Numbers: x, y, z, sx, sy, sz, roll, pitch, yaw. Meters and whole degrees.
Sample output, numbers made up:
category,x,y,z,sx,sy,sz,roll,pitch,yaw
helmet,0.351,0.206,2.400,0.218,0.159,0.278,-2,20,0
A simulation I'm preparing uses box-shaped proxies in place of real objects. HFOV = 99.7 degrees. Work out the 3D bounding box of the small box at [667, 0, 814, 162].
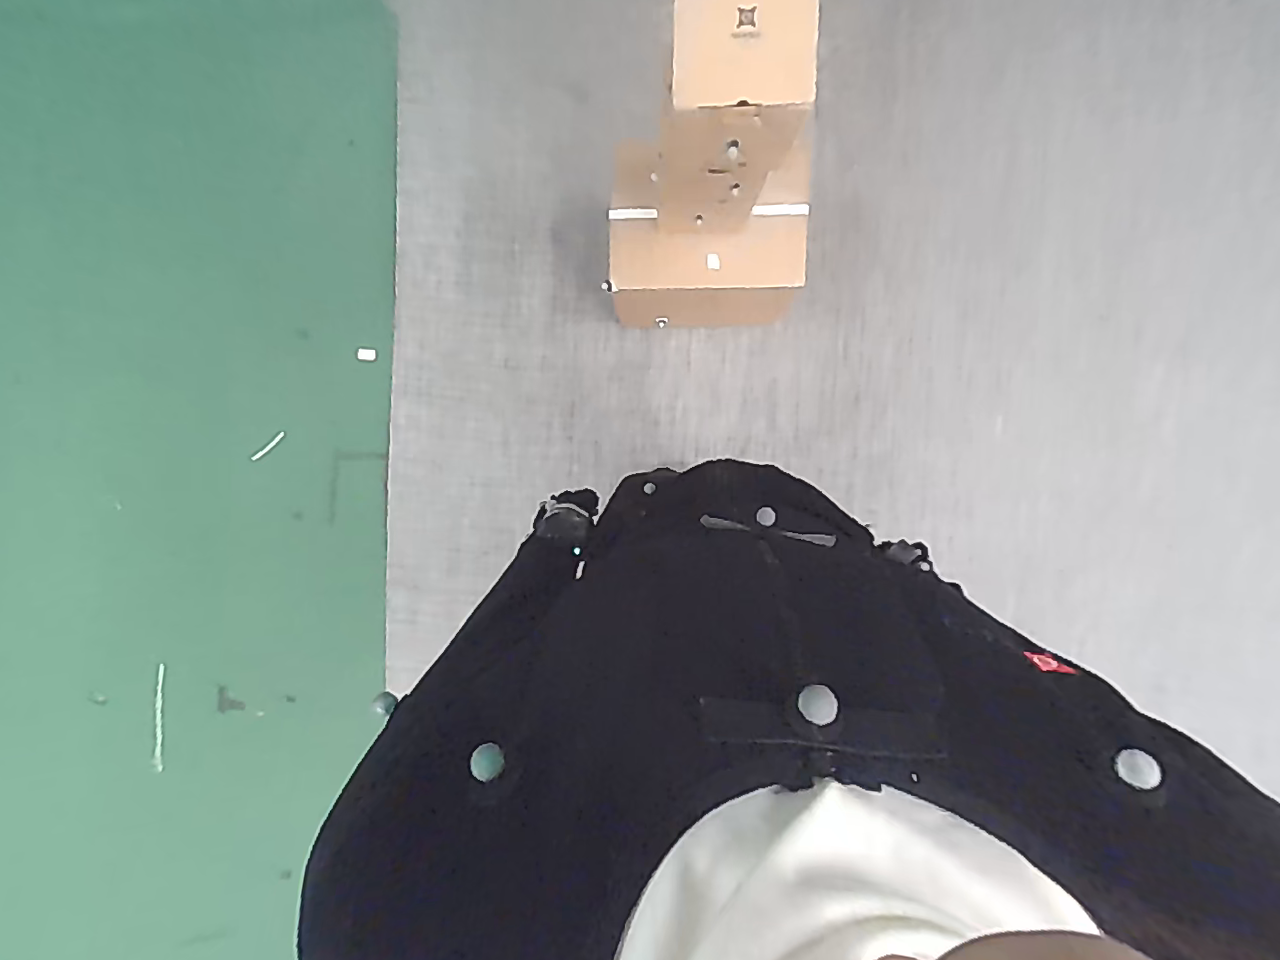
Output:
category,x,y,z,sx,sy,sz,roll,pitch,yaw
small box,0.121,-0.535,0.700,0.168,0.176,0.179,1,99,3

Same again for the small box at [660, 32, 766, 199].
category,x,y,z,sx,sy,sz,roll,pitch,yaw
small box,0.117,-0.566,0.861,0.168,0.176,0.179,0,97,2

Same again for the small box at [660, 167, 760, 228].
category,x,y,z,sx,sy,sz,roll,pitch,yaw
small box,0.127,-0.588,1.021,0.179,0.176,0.168,0,98,3
